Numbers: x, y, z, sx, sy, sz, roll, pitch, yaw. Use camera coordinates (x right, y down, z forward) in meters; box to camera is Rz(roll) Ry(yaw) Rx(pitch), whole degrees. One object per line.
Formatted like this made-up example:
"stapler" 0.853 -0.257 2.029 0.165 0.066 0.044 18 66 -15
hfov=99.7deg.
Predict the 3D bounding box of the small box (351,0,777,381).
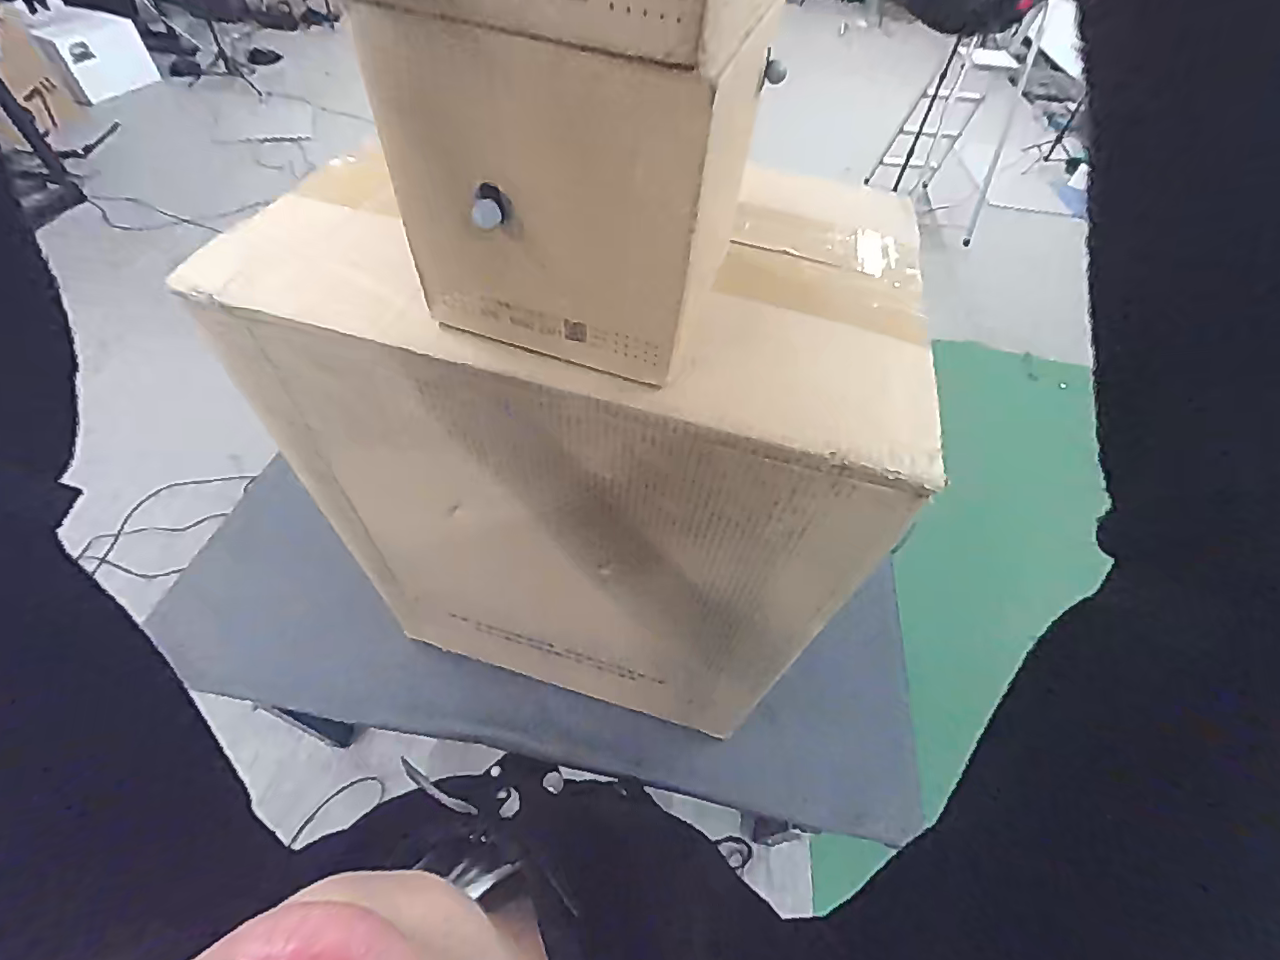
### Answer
"small box" -0.030 -0.190 0.336 0.168 0.176 0.179 18 53 7
